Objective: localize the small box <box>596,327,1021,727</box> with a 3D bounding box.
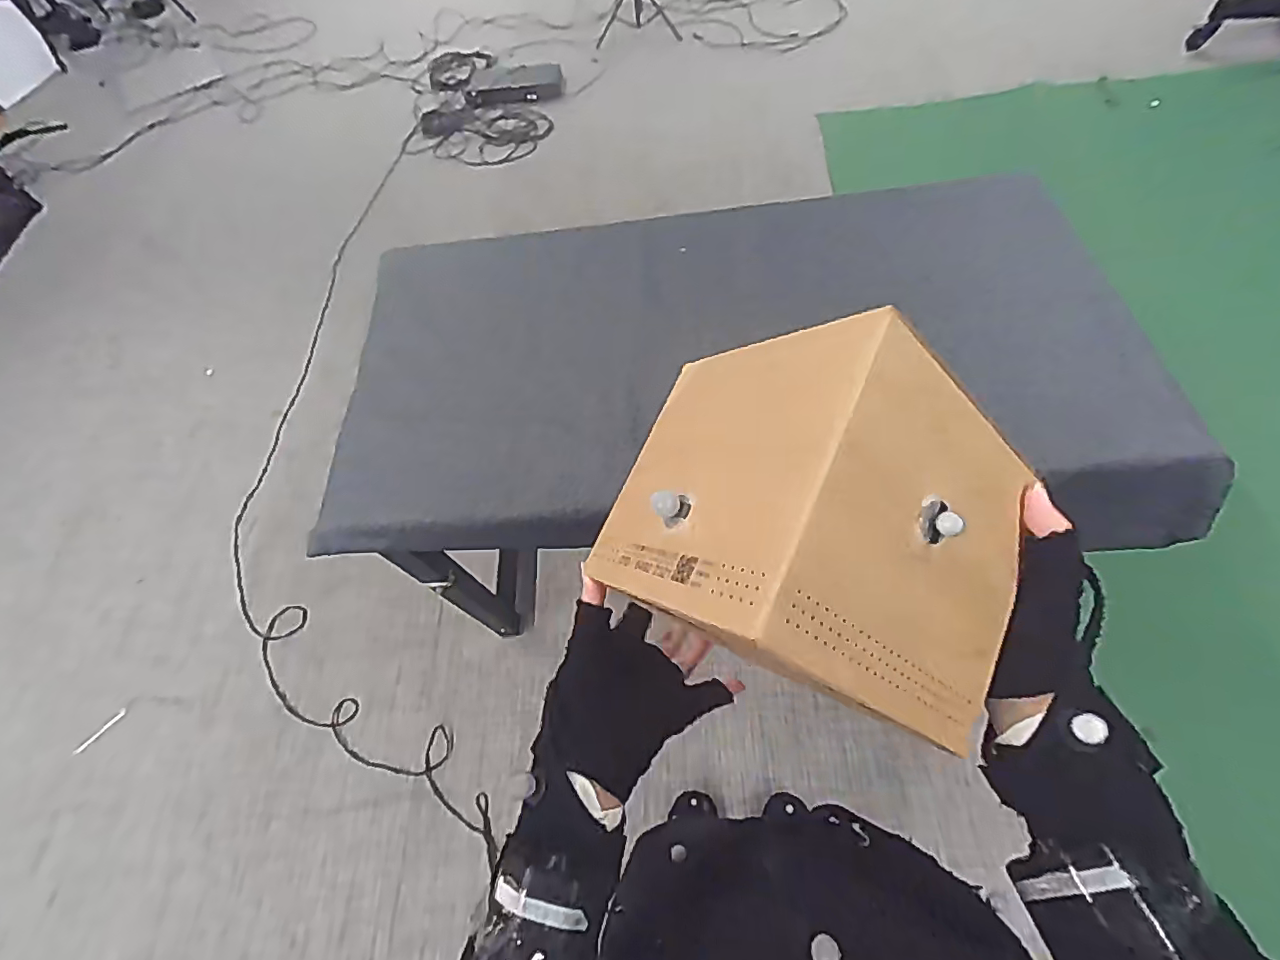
[{"bbox_3d":[0.102,0.035,0.353,0.168,0.179,0.176,2,63,60],"label":"small box"}]
